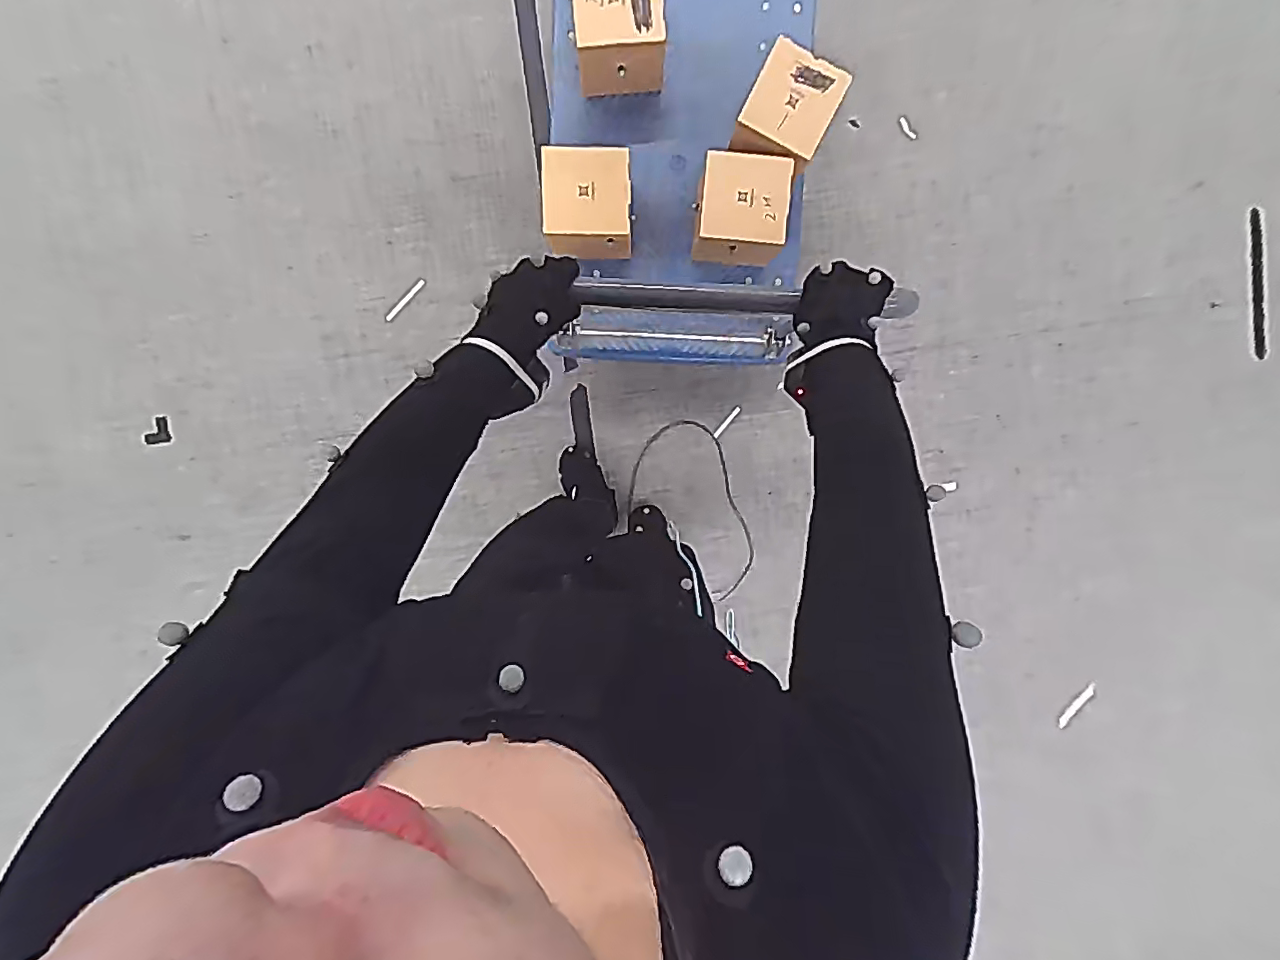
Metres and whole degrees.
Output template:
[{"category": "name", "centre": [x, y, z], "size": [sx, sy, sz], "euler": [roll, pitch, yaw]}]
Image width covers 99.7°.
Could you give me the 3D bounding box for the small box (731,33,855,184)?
[{"category": "small box", "centre": [0.305, -0.751, 1.122], "size": [0.168, 0.176, 0.179], "euler": [27, 98, -3]}]

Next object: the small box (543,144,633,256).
[{"category": "small box", "centre": [-0.104, -0.582, 1.142], "size": [0.179, 0.176, 0.168], "euler": [0, 97, -2]}]

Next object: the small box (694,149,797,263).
[{"category": "small box", "centre": [0.213, -0.570, 1.145], "size": [0.179, 0.176, 0.168], "euler": [6, 98, -1]}]
